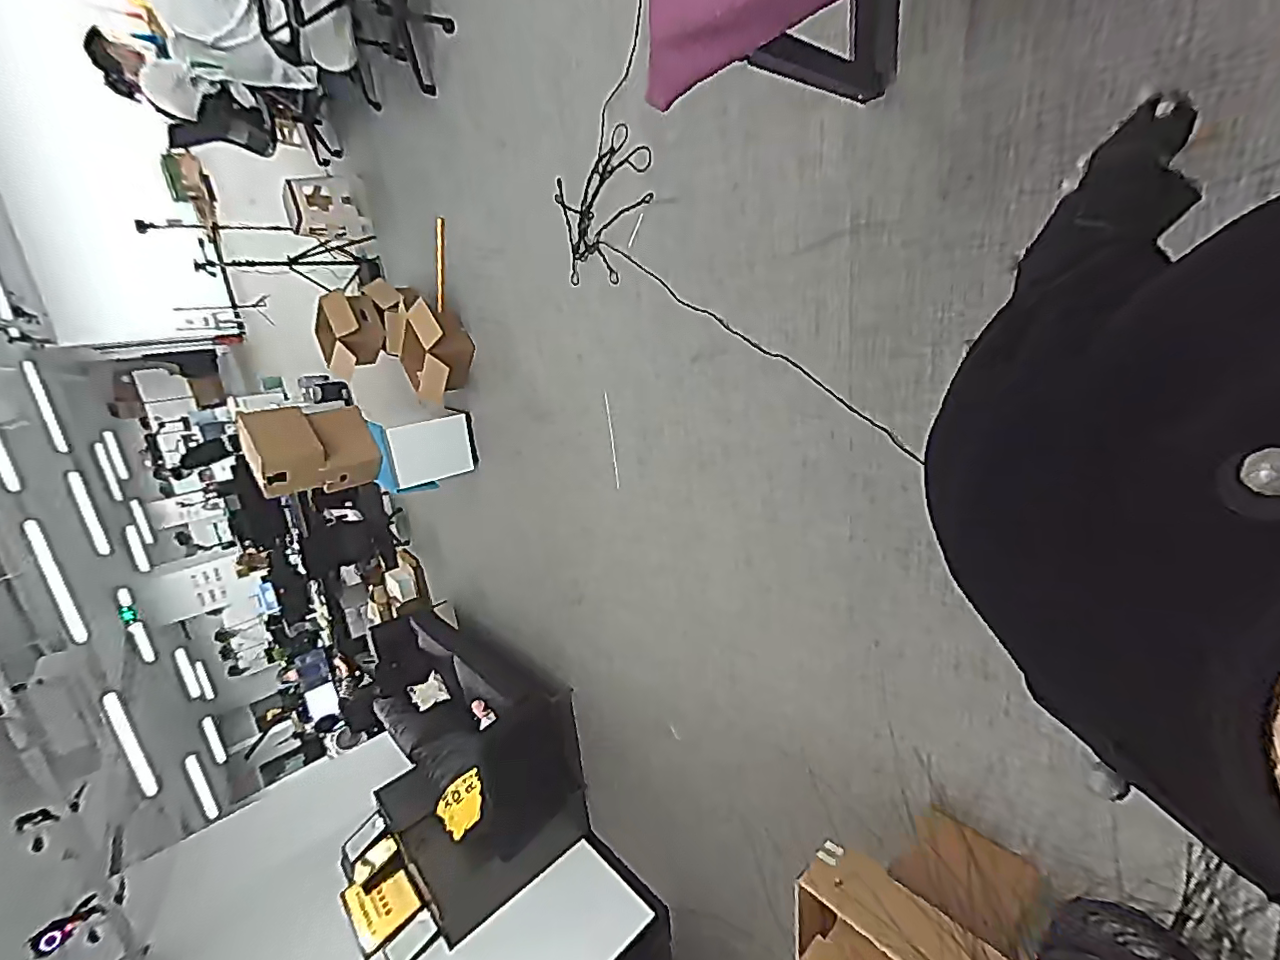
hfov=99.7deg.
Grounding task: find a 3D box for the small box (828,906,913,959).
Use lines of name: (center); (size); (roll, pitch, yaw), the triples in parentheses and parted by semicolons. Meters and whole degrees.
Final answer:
small box: (0.619, 1.326, 1.469); (0.168, 0.176, 0.179); (21, 120, 46)
